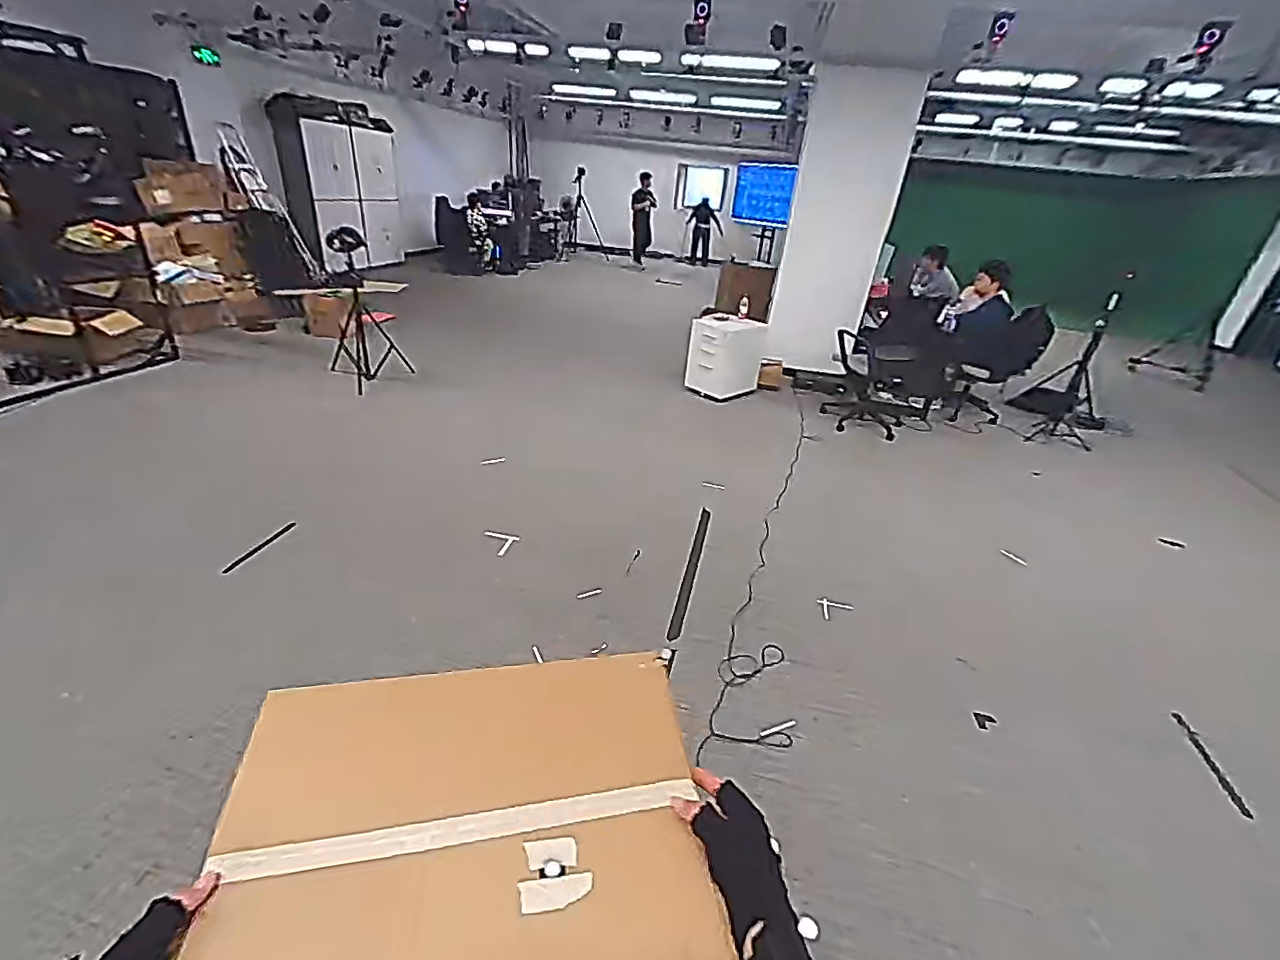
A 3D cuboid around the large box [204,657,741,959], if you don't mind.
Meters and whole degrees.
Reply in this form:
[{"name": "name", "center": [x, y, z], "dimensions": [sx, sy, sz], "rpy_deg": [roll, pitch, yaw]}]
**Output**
[{"name": "large box", "center": [-0.155, 0.426, 0.573], "dimensions": [0.408, 0.320, 0.320], "rpy_deg": [-1, 39, -12]}]
